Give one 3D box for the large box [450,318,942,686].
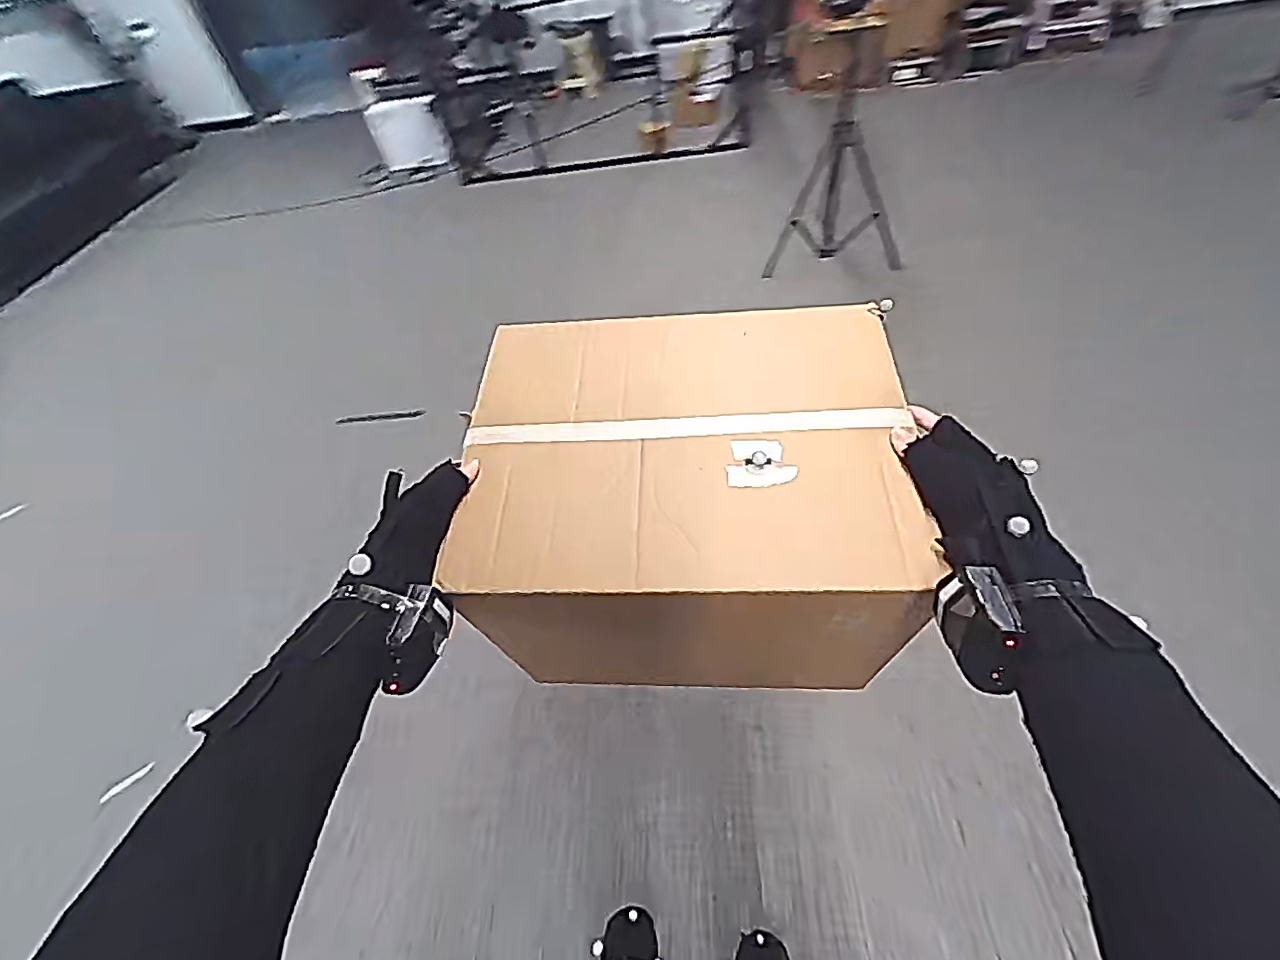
[{"bbox_3d":[0.051,0.043,0.635,0.408,0.320,0.320,-2,57,5],"label":"large box"}]
